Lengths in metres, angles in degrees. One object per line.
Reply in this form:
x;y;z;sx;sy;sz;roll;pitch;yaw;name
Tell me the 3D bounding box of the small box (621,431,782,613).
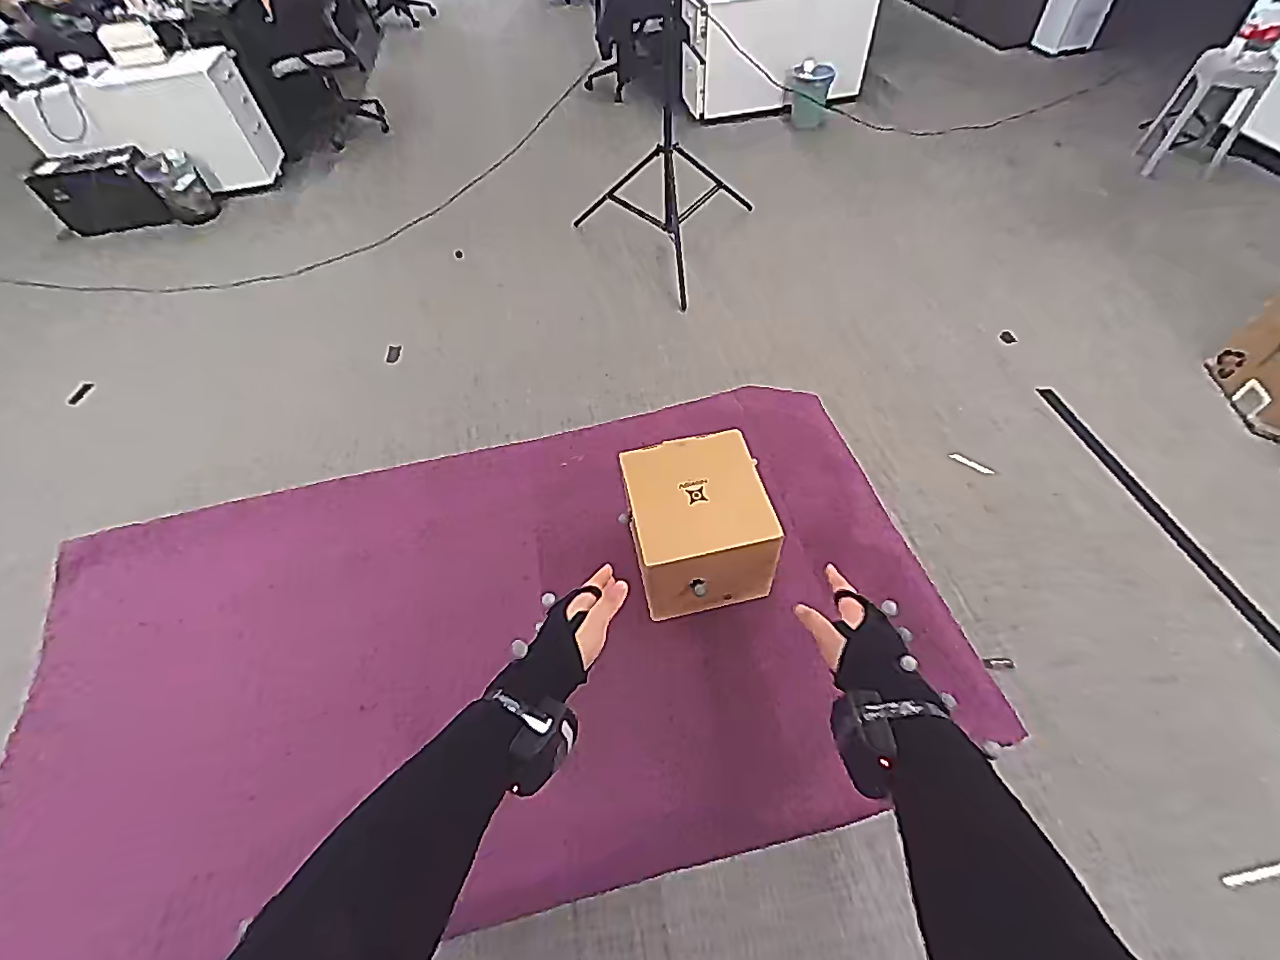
0.078;0.065;0.732;0.168;0.176;0.179;-12;53;-4;small box
